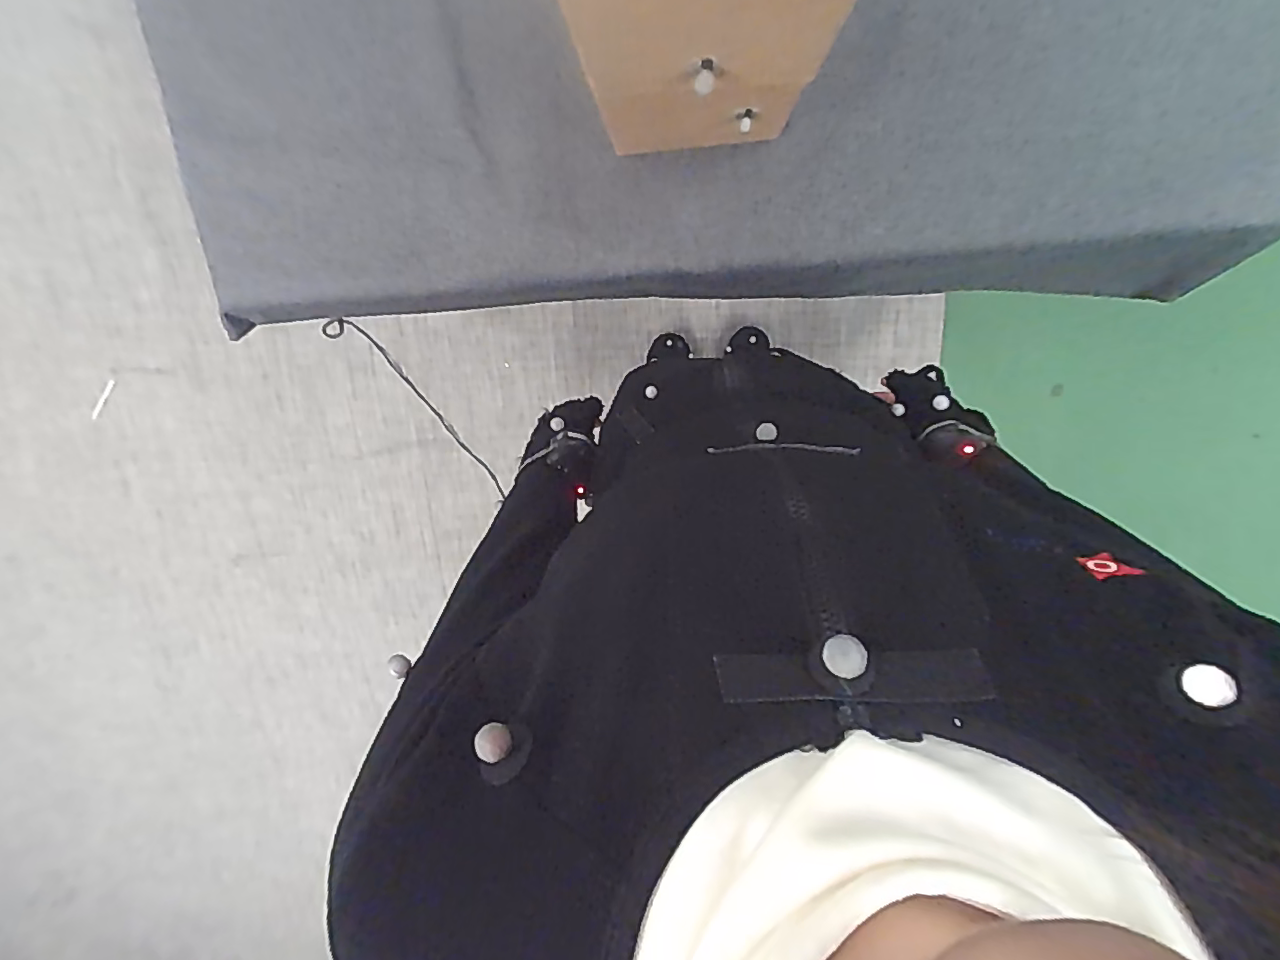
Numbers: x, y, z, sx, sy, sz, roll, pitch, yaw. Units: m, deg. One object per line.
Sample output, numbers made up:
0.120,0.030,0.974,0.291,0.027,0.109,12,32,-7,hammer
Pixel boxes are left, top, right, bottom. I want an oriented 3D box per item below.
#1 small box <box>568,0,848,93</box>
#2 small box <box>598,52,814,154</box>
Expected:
0.043,-0.372,0.337,0.179,0.176,0.168,-2,105,4,small box
0.052,-0.420,0.493,0.179,0.176,0.168,-4,105,6,small box
